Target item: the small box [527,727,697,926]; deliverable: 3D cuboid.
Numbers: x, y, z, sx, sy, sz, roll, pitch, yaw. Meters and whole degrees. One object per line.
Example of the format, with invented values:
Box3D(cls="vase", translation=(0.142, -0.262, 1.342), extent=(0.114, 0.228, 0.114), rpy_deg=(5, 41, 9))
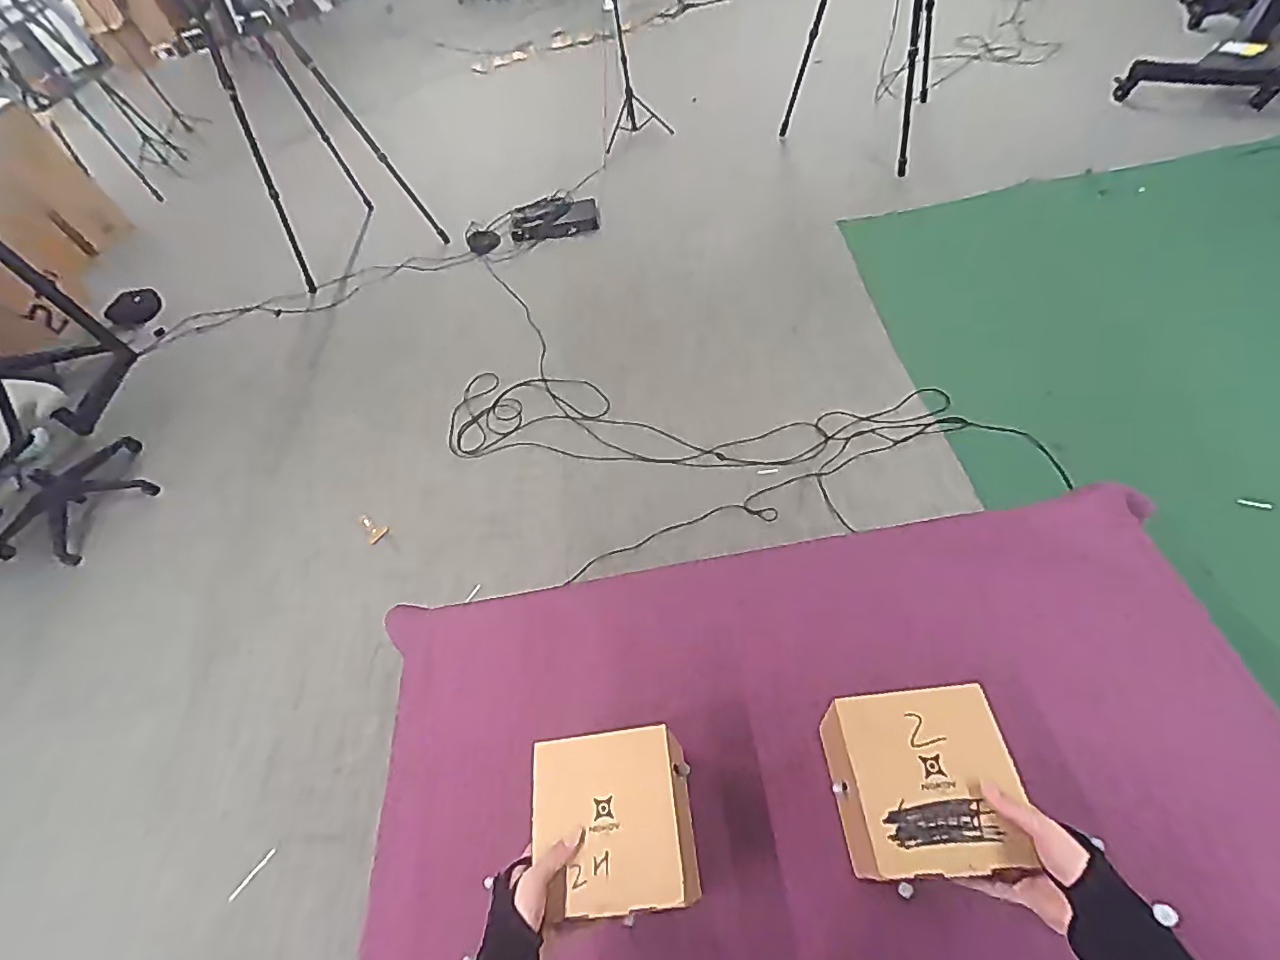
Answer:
Box3D(cls="small box", translation=(-0.028, 0.418, 0.658), extent=(0.168, 0.176, 0.179), rpy_deg=(-11, 55, 6))
